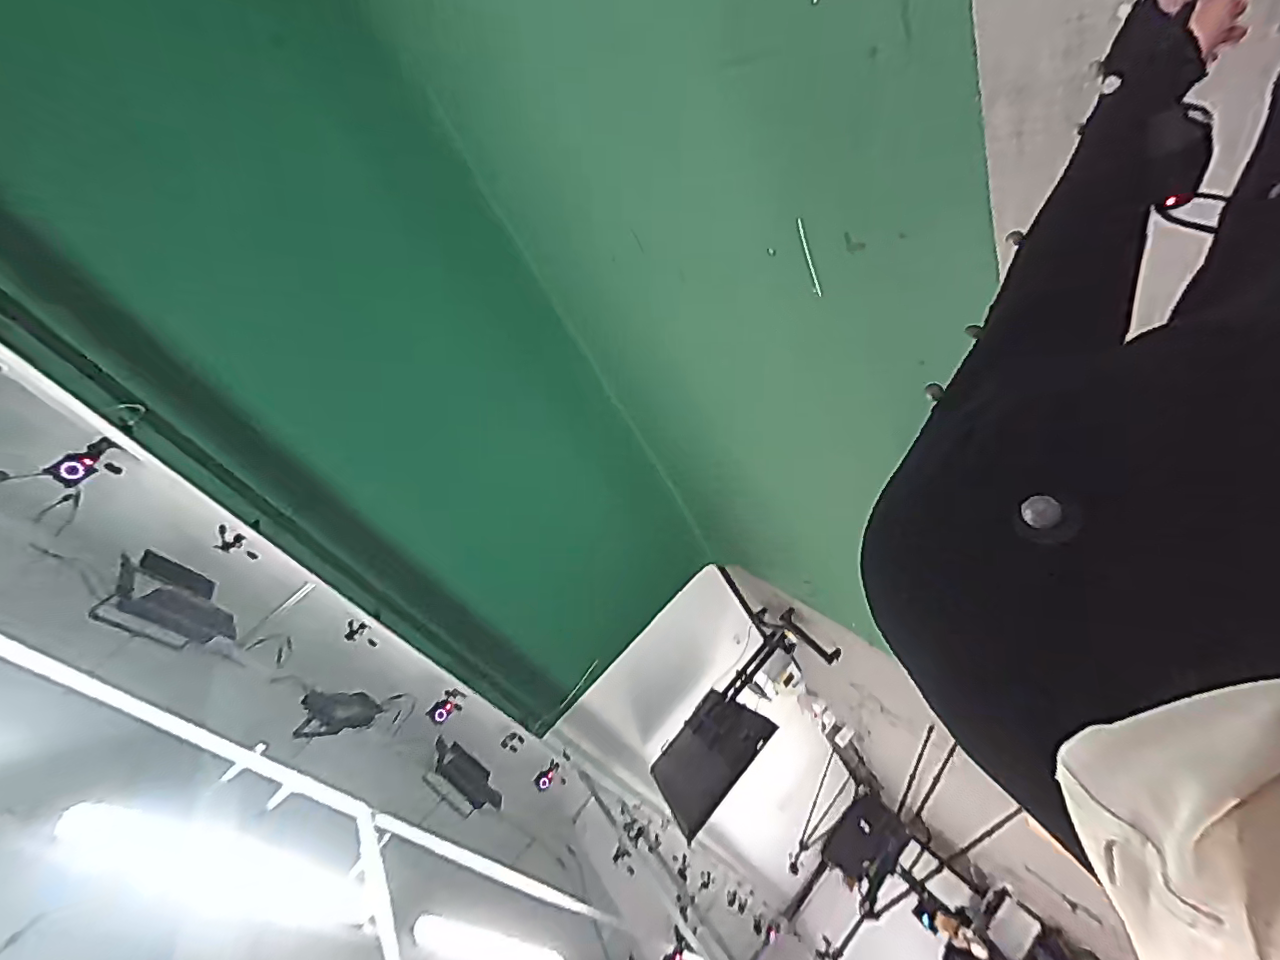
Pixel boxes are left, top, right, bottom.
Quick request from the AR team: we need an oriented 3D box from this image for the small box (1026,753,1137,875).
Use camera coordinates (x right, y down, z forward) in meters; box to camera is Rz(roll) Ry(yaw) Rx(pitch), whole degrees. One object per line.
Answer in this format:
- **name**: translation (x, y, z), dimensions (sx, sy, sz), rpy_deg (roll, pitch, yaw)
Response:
- **small box**: translation (1.095, 0.822, 1.344), dimensions (0.168, 0.176, 0.179), rpy_deg (27, 156, 53)
